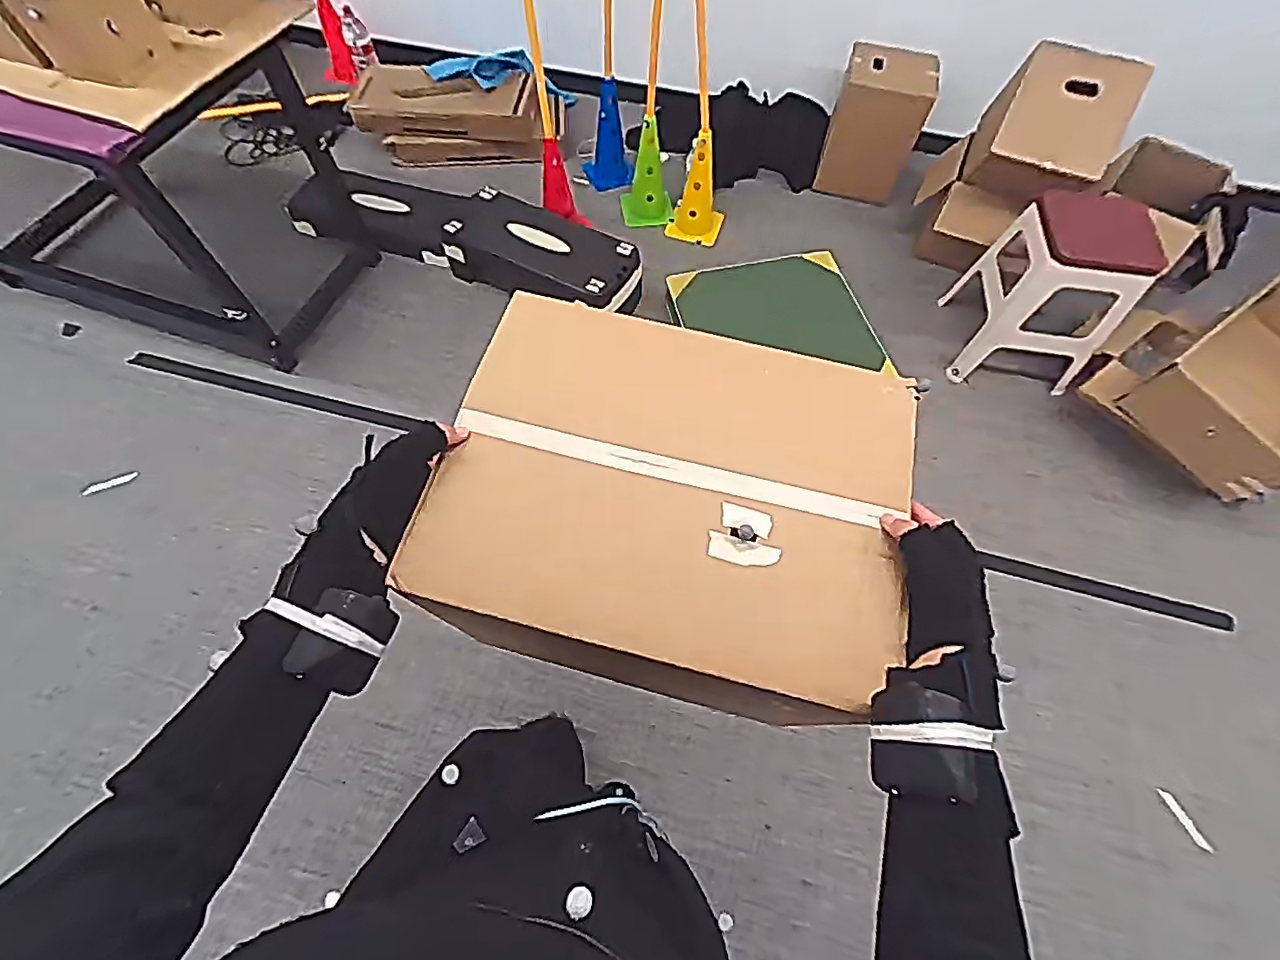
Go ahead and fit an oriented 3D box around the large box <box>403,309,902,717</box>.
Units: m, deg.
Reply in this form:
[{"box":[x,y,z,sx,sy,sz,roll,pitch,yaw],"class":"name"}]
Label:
[{"box":[0.024,0.062,0.619,0.408,0.320,0.320,14,67,3],"class":"large box"}]
